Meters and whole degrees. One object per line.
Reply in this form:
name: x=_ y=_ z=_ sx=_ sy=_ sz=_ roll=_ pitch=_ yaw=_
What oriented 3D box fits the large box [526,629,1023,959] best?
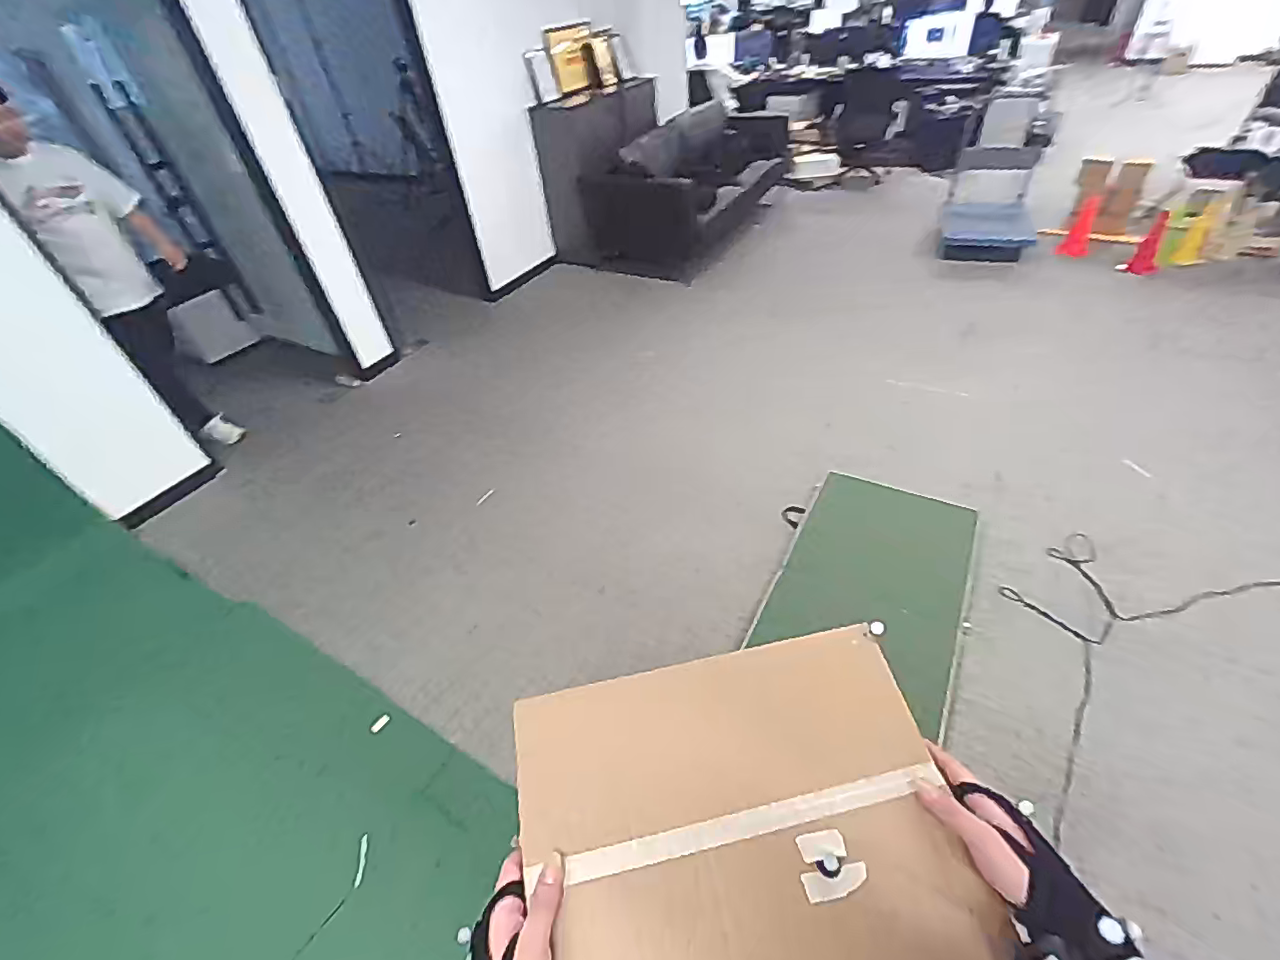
large box: x=0.103 y=0.419 z=0.638 sx=0.408 sy=0.320 sz=0.320 roll=-10 pitch=54 yaw=-6
